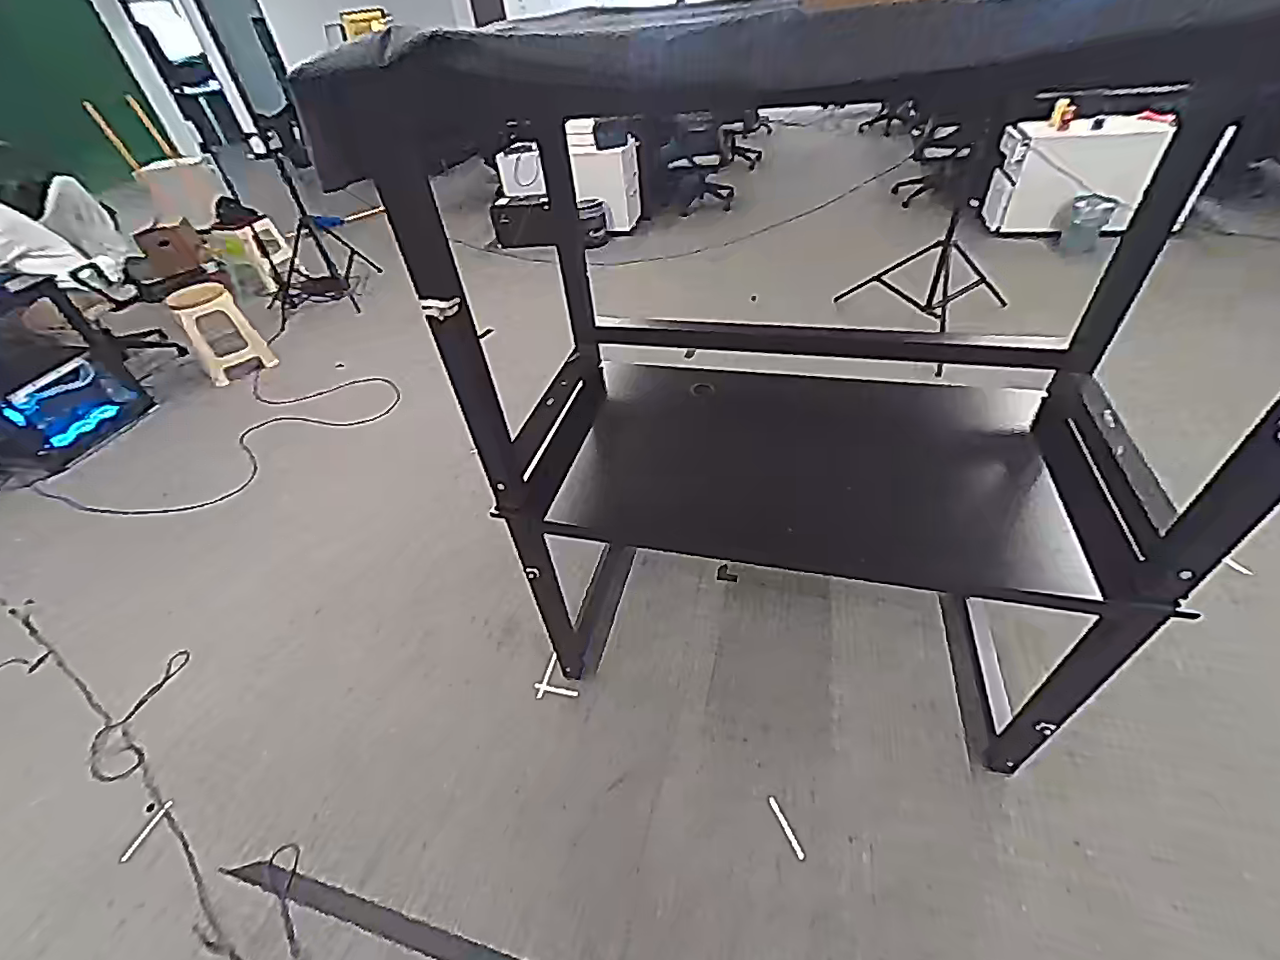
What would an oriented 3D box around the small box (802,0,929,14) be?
[{"bbox_3d":[0.258,-0.588,0.542,0.168,0.176,0.179,6,42,14],"label":"small box"}]
